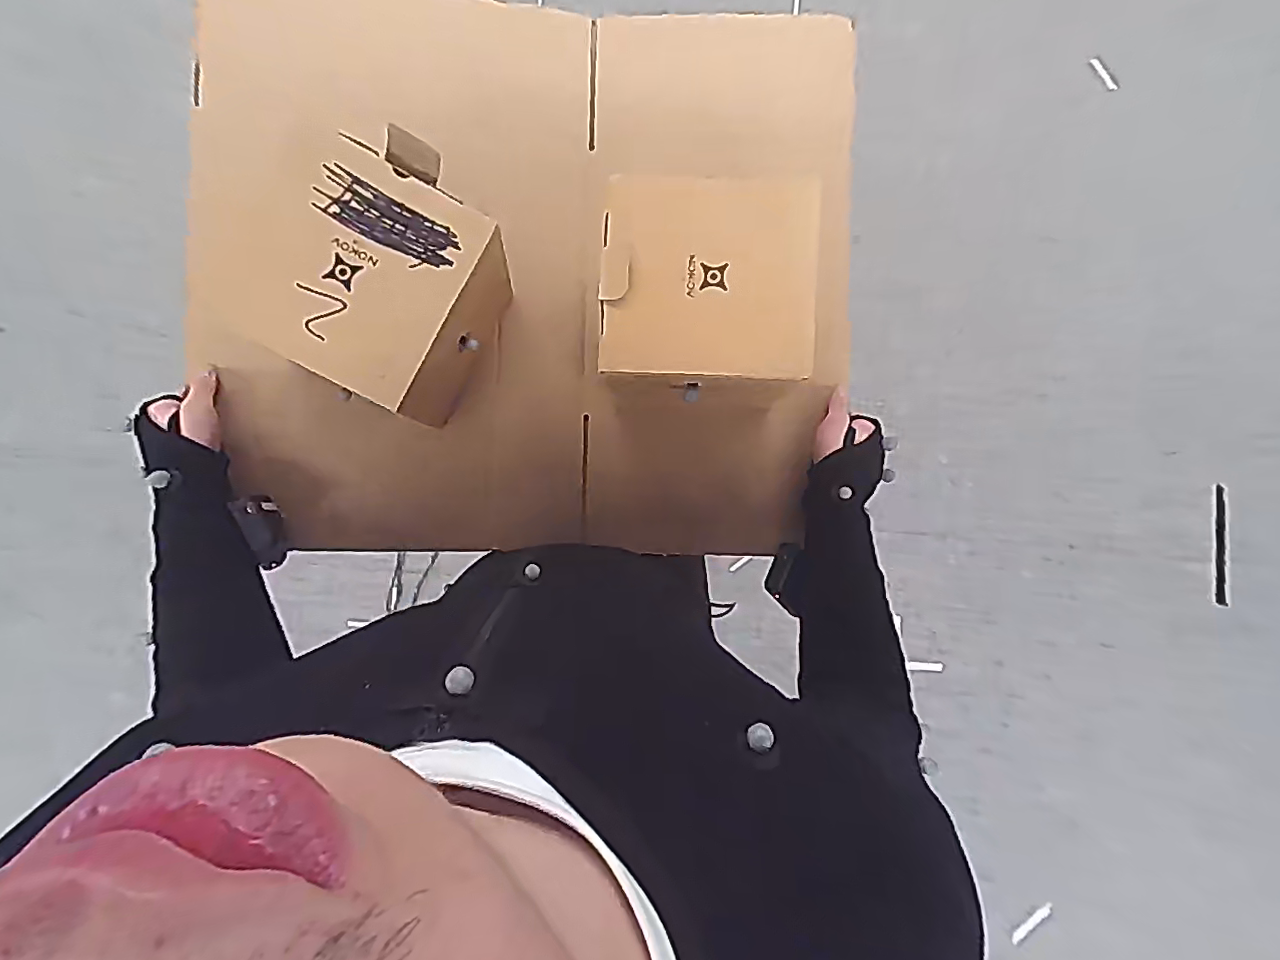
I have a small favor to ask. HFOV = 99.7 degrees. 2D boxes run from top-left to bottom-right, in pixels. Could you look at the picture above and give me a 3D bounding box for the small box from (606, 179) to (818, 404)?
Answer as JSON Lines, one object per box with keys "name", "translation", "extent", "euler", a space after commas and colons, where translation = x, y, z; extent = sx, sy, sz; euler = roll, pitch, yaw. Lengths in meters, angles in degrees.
{"name": "small box", "translation": [0.064, -0.171, 0.538], "extent": [0.179, 0.176, 0.168], "euler": [2, 89, 3]}
